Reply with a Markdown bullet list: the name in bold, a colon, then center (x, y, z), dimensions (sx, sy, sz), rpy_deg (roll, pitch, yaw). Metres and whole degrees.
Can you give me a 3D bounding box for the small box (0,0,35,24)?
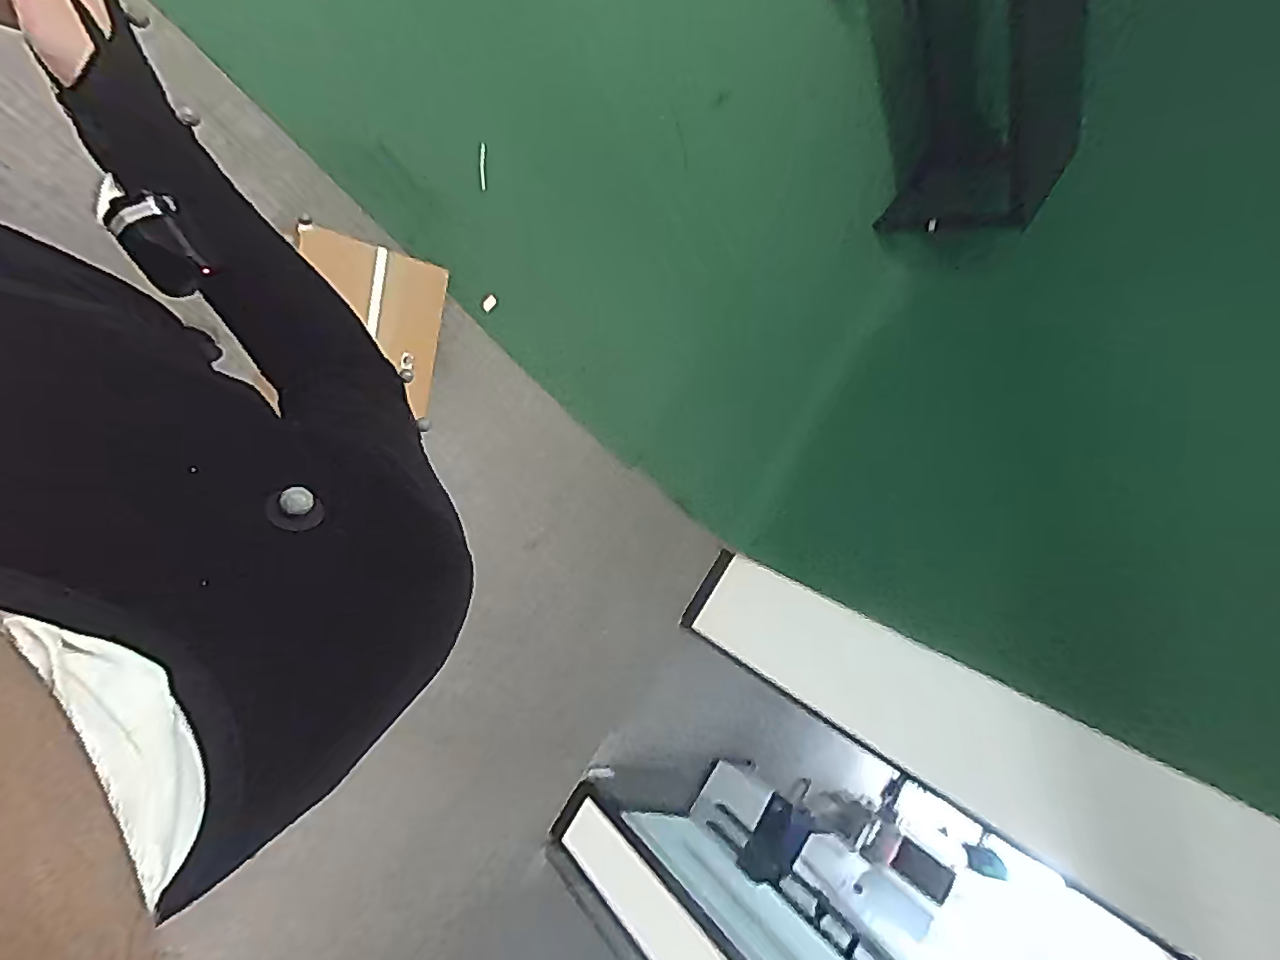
- **small box**: center (-0.495, -0.412, 0.320), dimensions (0.179, 0.176, 0.168), rpy_deg (-5, 114, -44)
